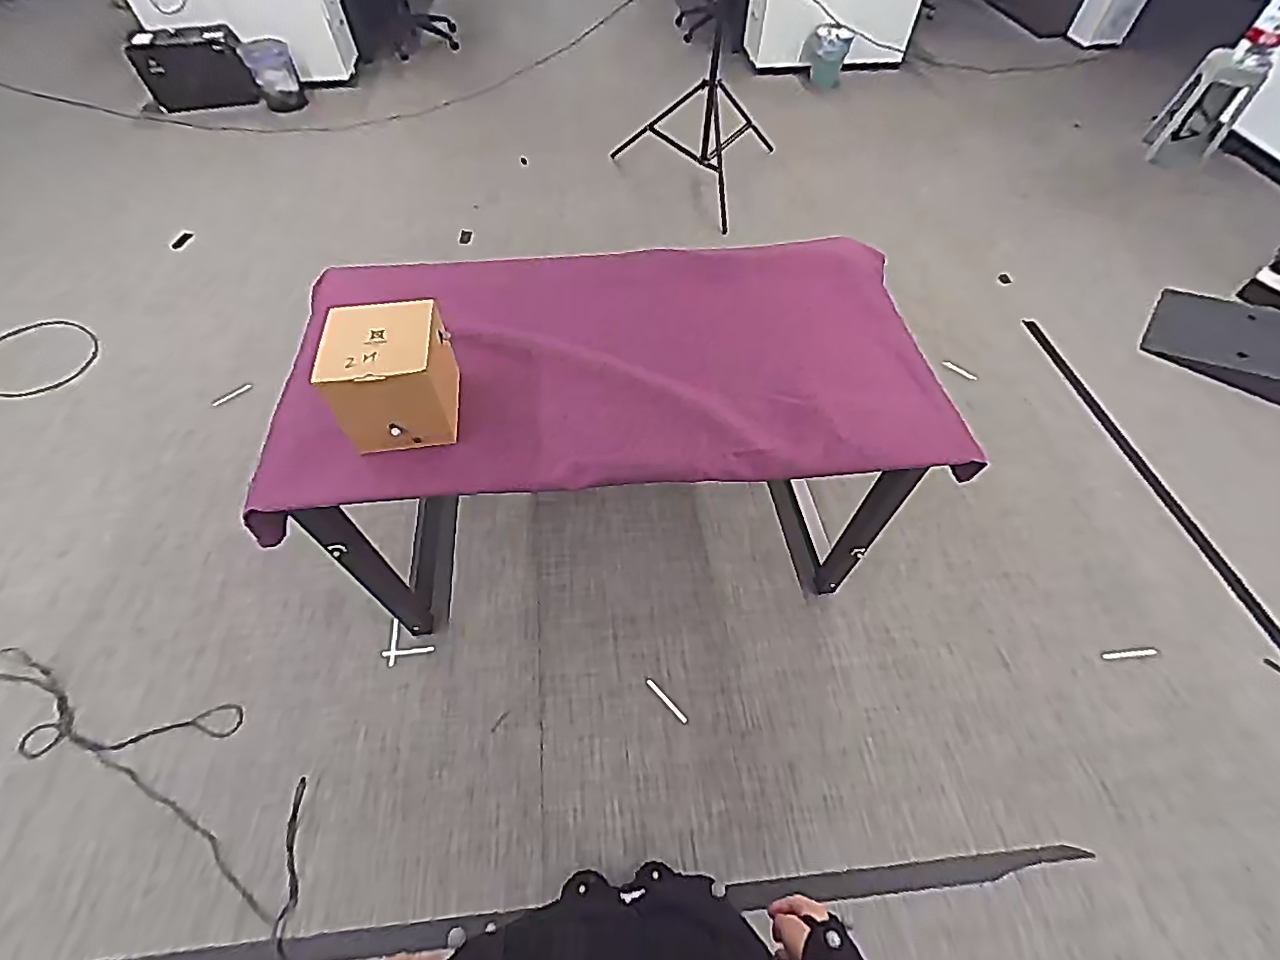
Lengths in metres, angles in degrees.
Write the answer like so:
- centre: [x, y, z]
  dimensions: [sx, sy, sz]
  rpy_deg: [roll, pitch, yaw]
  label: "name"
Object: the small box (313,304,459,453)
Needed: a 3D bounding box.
- centre: [-0.409, -0.168, 0.906]
  dimensions: [0.168, 0.176, 0.179]
  rpy_deg: [-7, 56, -6]
  label: "small box"
